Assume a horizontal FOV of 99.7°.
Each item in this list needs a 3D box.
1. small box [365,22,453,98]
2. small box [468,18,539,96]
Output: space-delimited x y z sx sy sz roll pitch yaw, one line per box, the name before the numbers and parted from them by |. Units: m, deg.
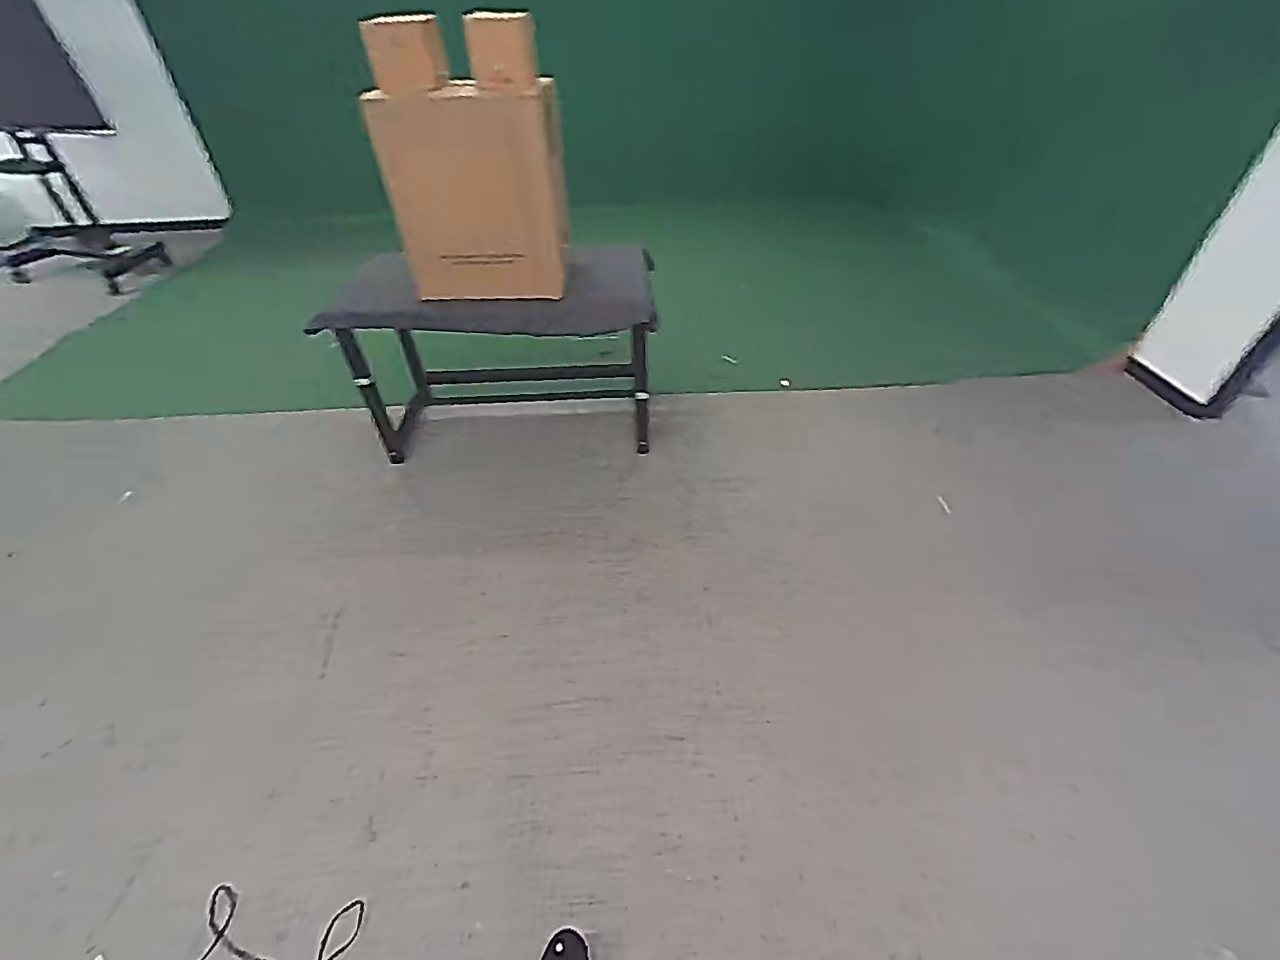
small box | -0.695 -1.281 1.650 0.179 0.176 0.168 1 45 2
small box | -0.407 -1.292 1.650 0.168 0.176 0.179 2 45 1
